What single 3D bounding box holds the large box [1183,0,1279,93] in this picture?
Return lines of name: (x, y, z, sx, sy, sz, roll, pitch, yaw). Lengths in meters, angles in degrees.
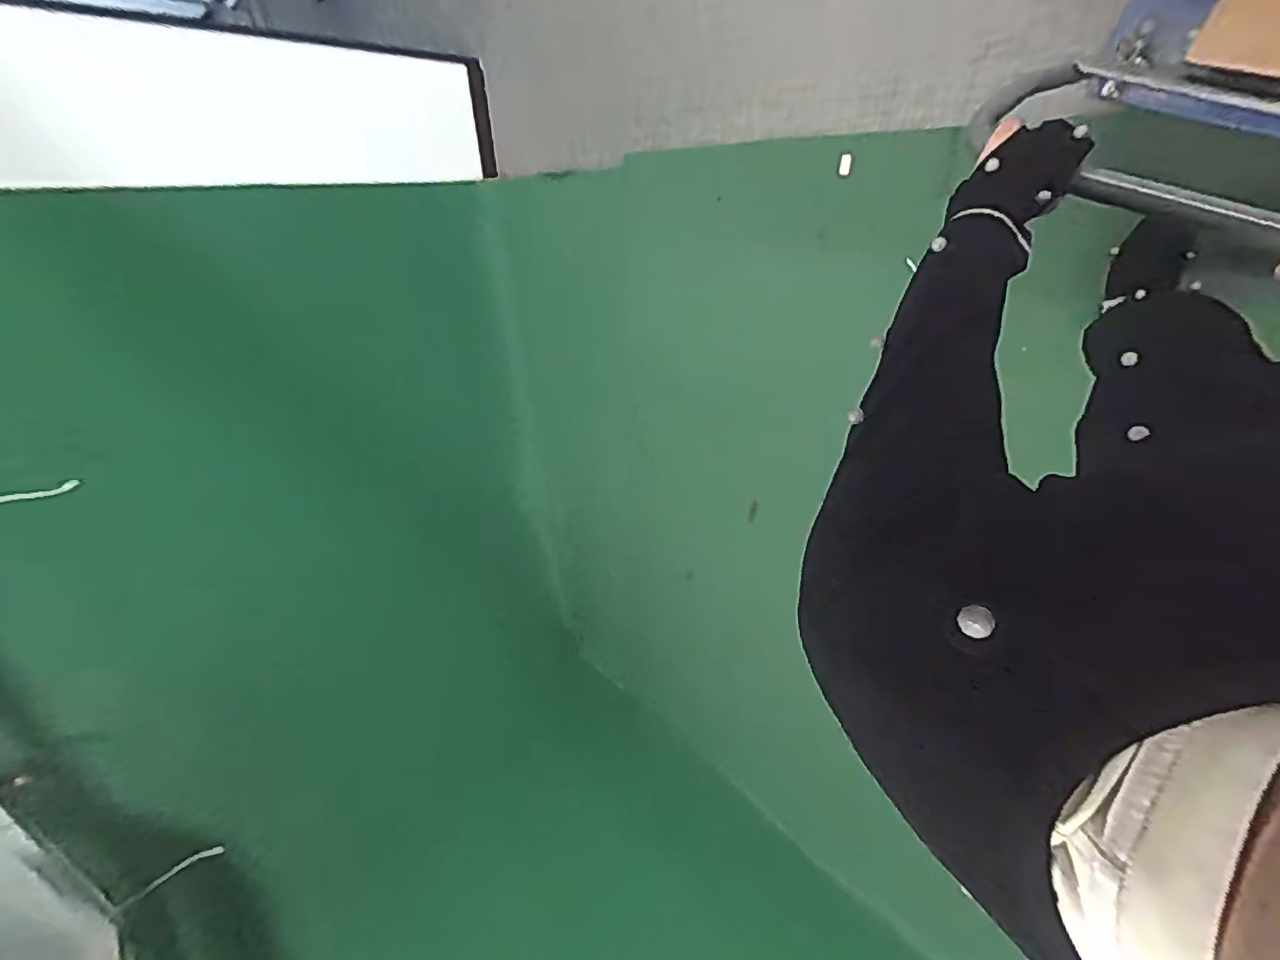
large box: (0.959, -0.675, 0.610, 0.320, 0.320, 0.408, 38, 139, 29)
